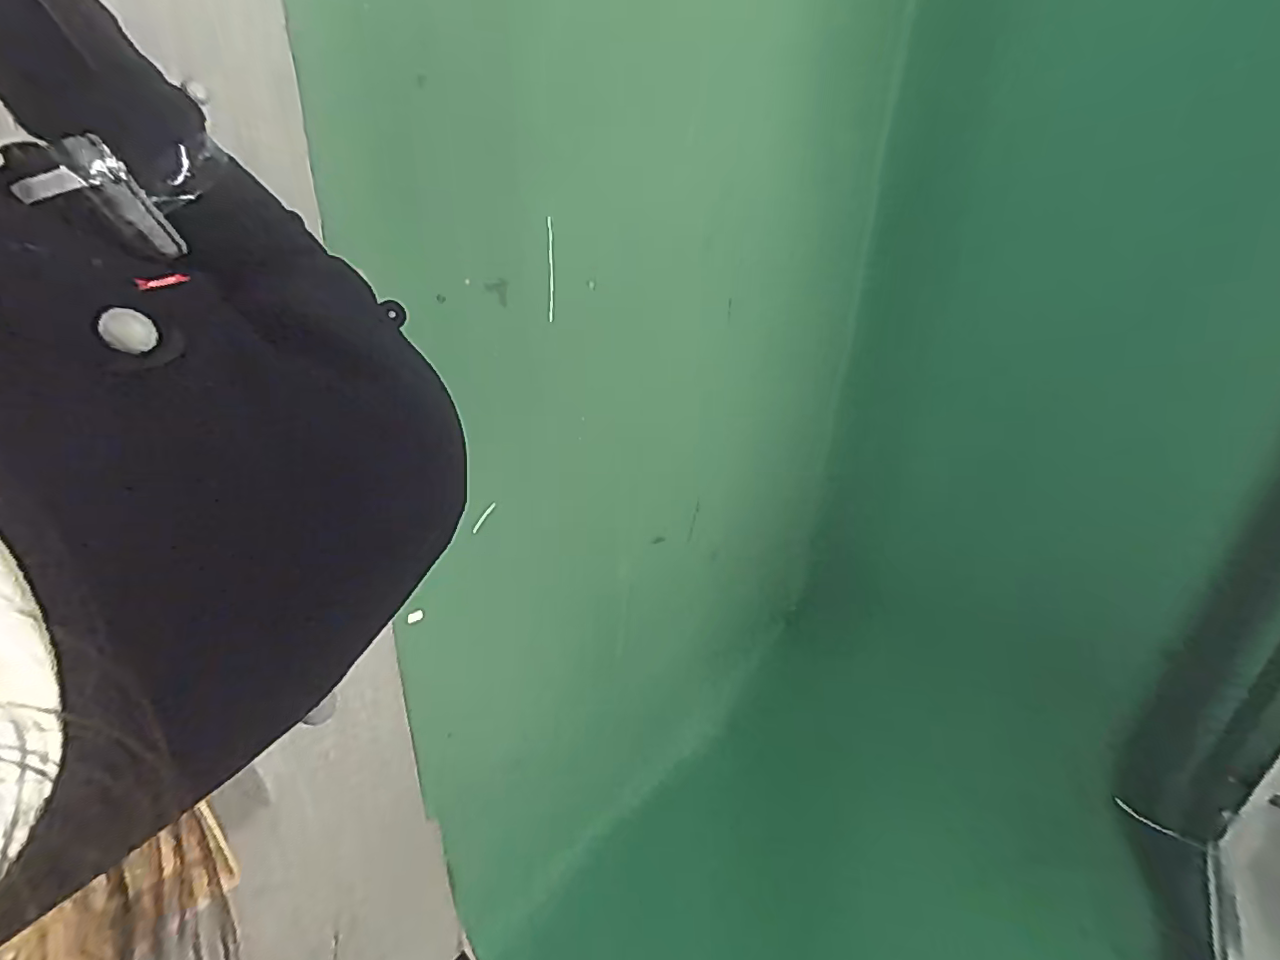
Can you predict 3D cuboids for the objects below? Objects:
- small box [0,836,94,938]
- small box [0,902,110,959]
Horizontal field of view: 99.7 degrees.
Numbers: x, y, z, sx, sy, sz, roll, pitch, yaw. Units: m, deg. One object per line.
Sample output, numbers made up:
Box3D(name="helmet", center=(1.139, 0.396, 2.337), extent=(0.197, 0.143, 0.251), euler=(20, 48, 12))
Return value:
Box3D(name="small box", center=(-1.232, 0.869, 1.072), extent=(0.179, 0.176, 0.168), euler=(-26, 127, -41))
Box3D(name="small box", center=(-1.106, 0.931, 0.989), extent=(0.168, 0.176, 0.179), euler=(-26, 126, -43))
